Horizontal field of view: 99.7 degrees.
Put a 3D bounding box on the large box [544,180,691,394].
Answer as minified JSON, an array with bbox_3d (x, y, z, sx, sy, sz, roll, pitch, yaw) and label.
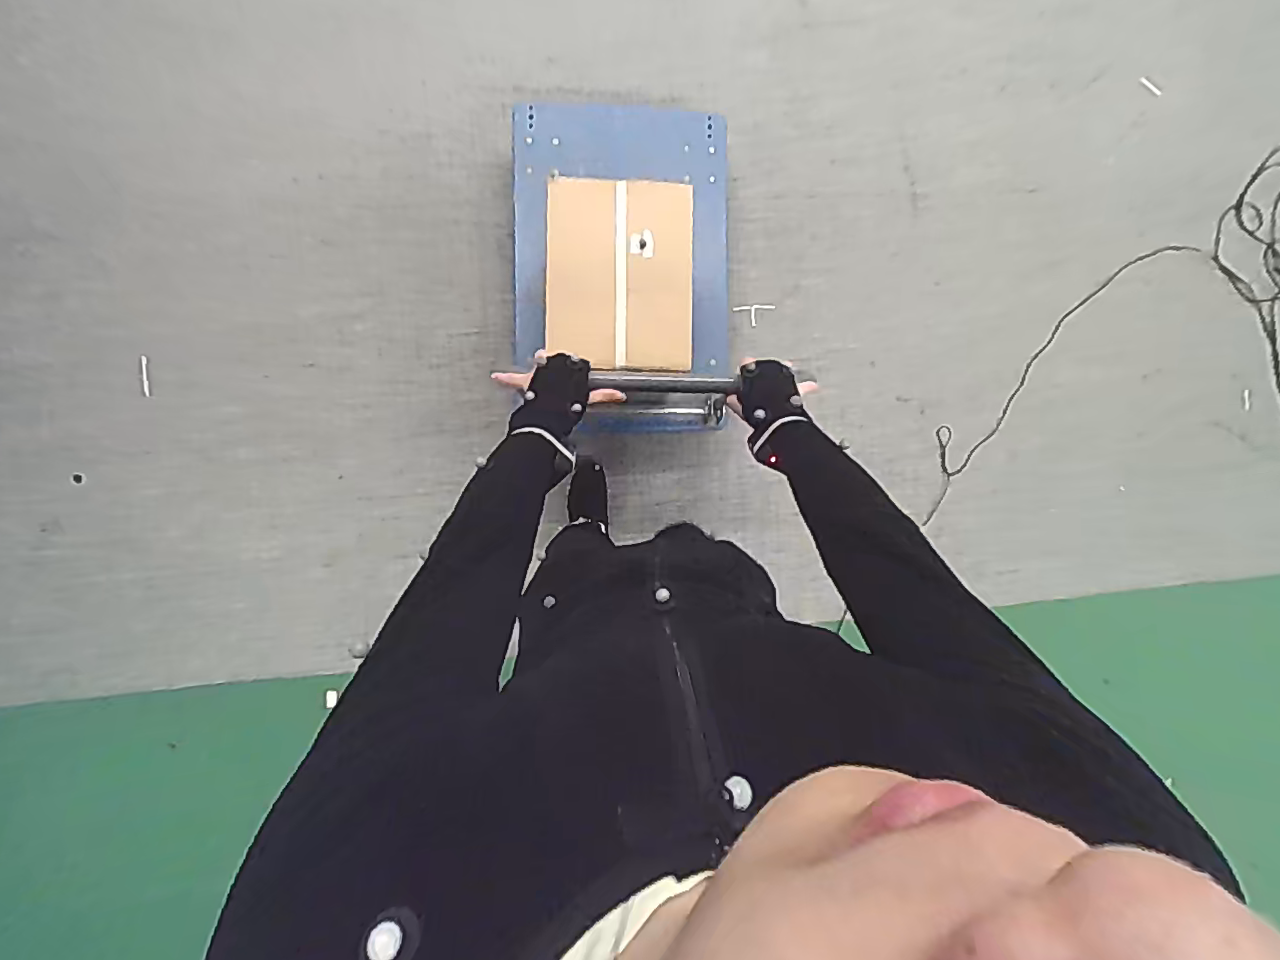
[{"bbox_3d":[-0.060,-0.432,1.296,0.320,0.320,0.408,0,88,-6],"label":"large box"}]
